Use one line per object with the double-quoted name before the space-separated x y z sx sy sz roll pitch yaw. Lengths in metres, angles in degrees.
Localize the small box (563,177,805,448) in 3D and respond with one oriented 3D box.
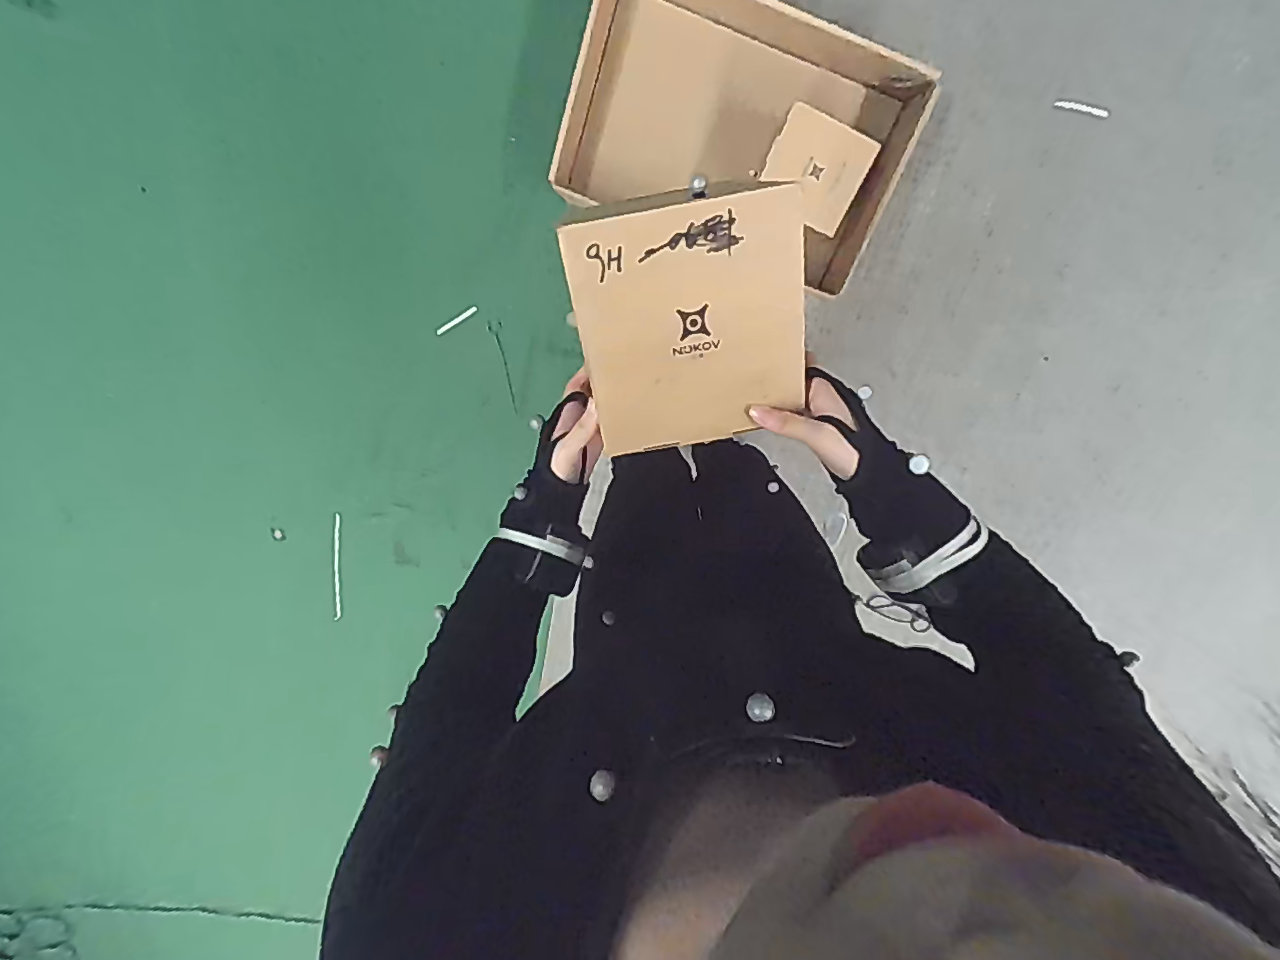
"small box" 0.034 -0.152 0.470 0.168 0.176 0.179 -10 121 0
